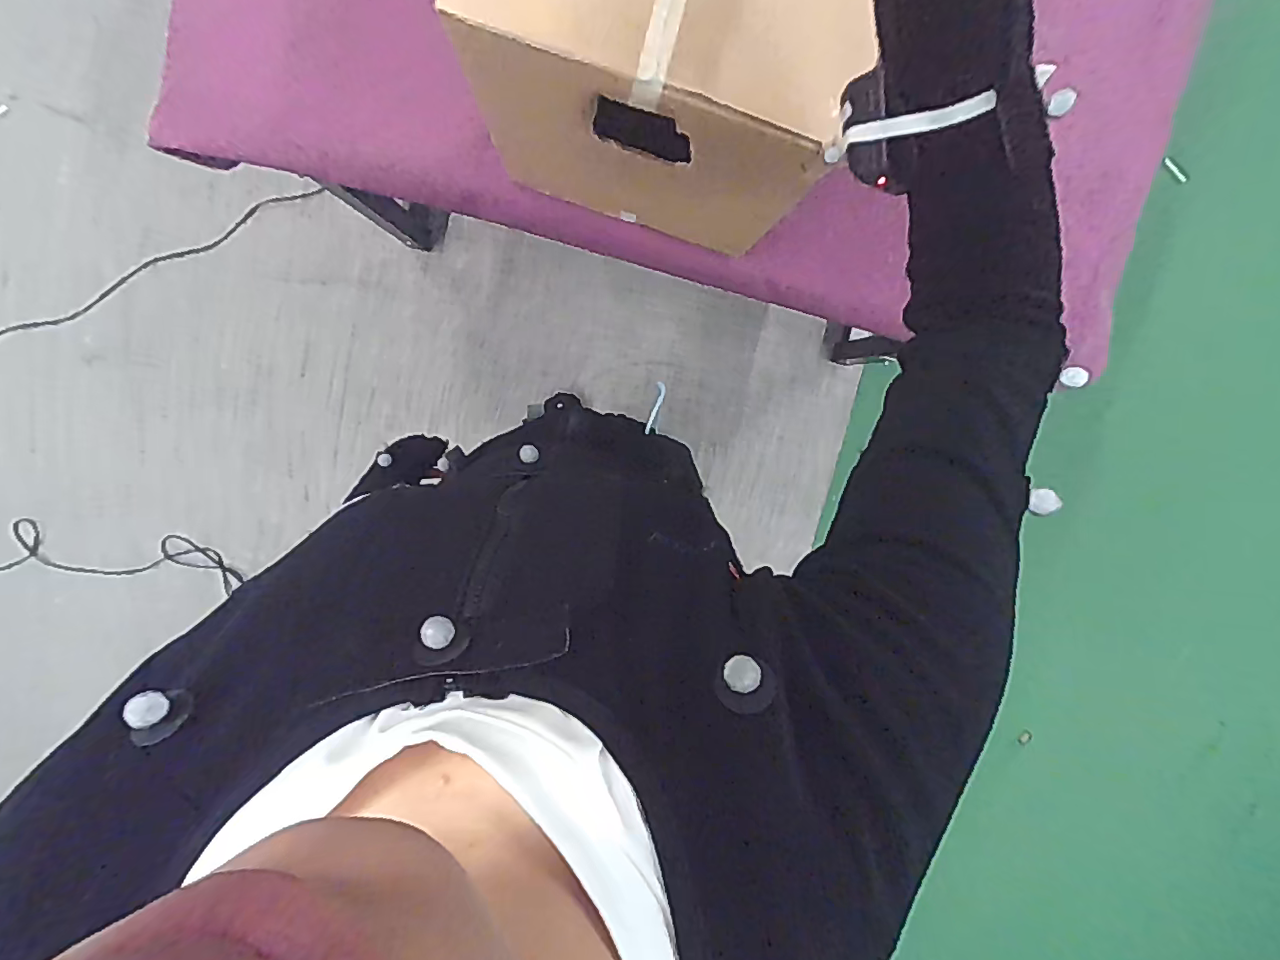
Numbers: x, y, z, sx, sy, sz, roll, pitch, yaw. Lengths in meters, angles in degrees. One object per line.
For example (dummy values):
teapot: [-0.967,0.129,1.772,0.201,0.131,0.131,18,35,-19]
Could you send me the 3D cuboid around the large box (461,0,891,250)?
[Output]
large box: [0.054,-0.506,0.530,0.320,0.320,0.408,16,98,-6]
